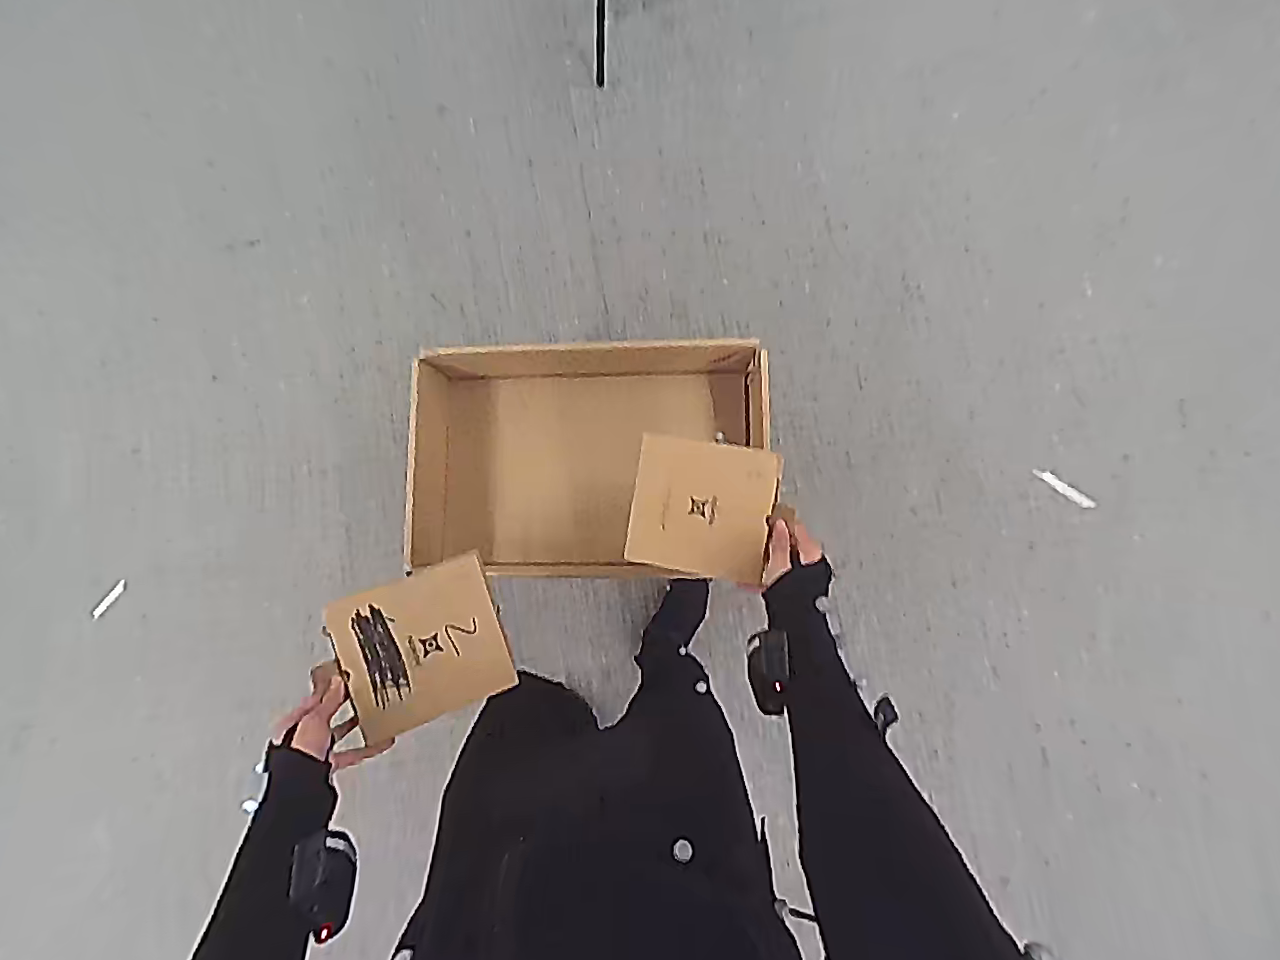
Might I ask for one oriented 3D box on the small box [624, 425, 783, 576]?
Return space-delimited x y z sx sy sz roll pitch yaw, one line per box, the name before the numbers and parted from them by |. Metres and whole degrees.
small box | 0.090 0.020 0.747 0.179 0.176 0.168 10 93 10
